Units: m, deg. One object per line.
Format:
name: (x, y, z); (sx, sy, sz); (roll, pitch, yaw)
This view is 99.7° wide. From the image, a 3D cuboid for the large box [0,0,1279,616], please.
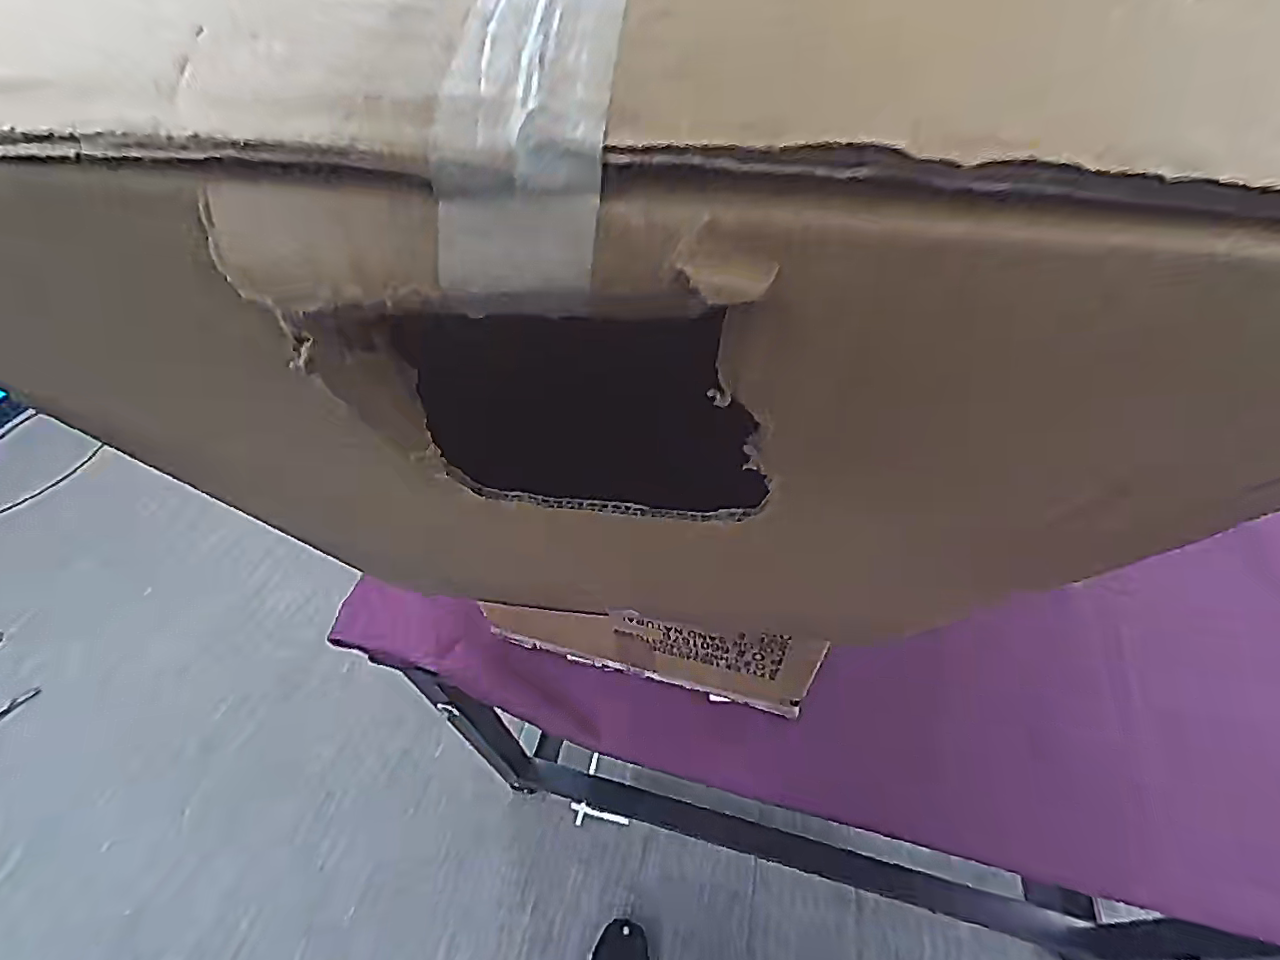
large box: (0.018, -0.163, 0.297); (0.320, 0.320, 0.408); (4, 67, 5)
